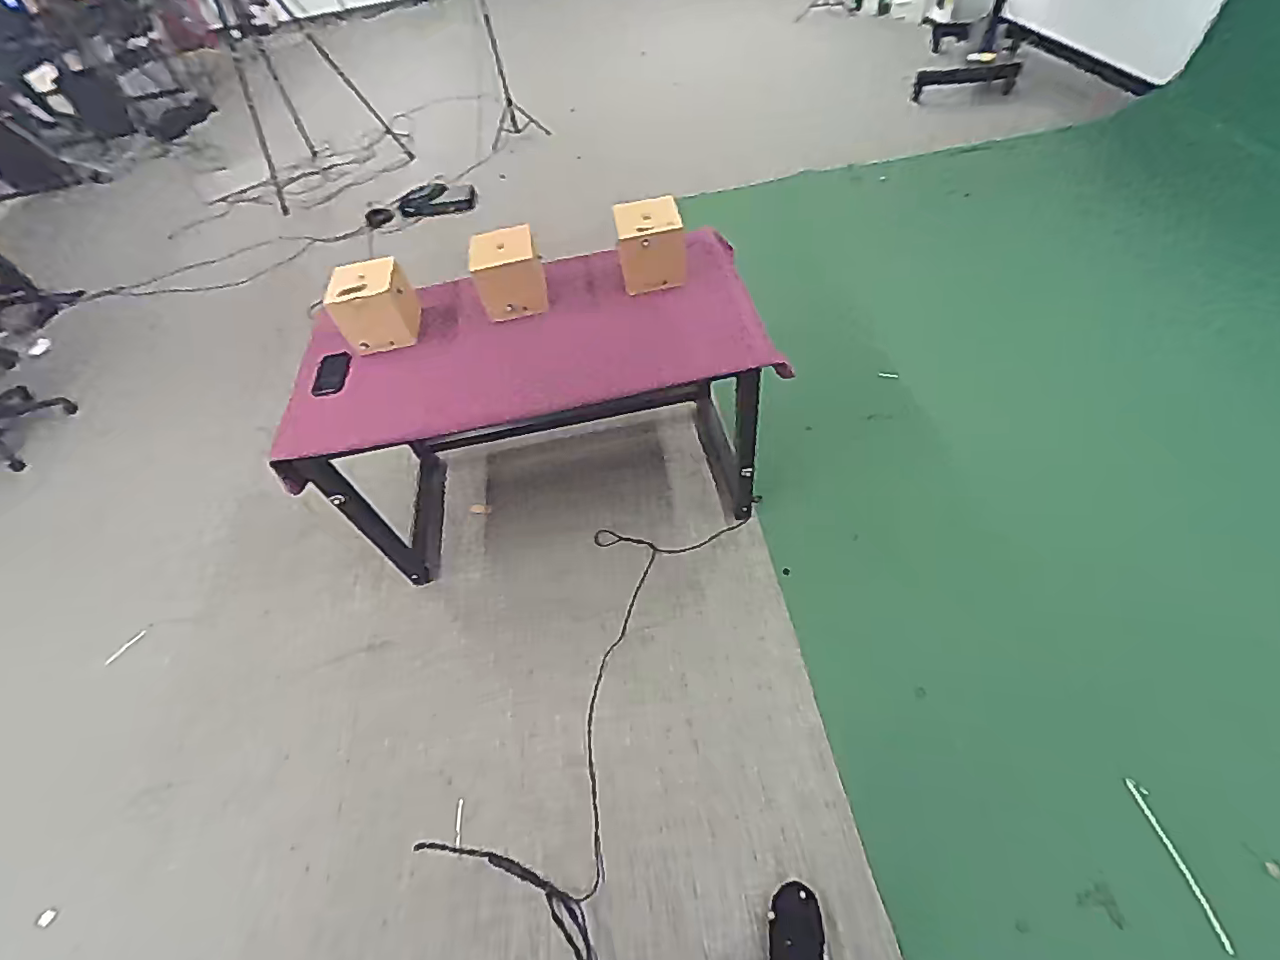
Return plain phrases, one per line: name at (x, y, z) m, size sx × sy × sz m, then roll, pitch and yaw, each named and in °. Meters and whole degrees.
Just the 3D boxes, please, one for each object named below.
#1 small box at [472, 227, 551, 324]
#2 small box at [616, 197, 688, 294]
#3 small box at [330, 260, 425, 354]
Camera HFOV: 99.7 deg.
small box at (-0.347, -0.556, 1.478) m, size 0.168 × 0.176 × 0.179 m, roll -13°, pitch 53°, yaw 1°
small box at (0.034, -0.635, 1.470) m, size 0.168 × 0.176 × 0.179 m, roll -11°, pitch 52°, yaw 2°
small box at (-0.700, -0.460, 1.464) m, size 0.168 × 0.176 × 0.179 m, roll -12°, pitch 52°, yaw 0°
